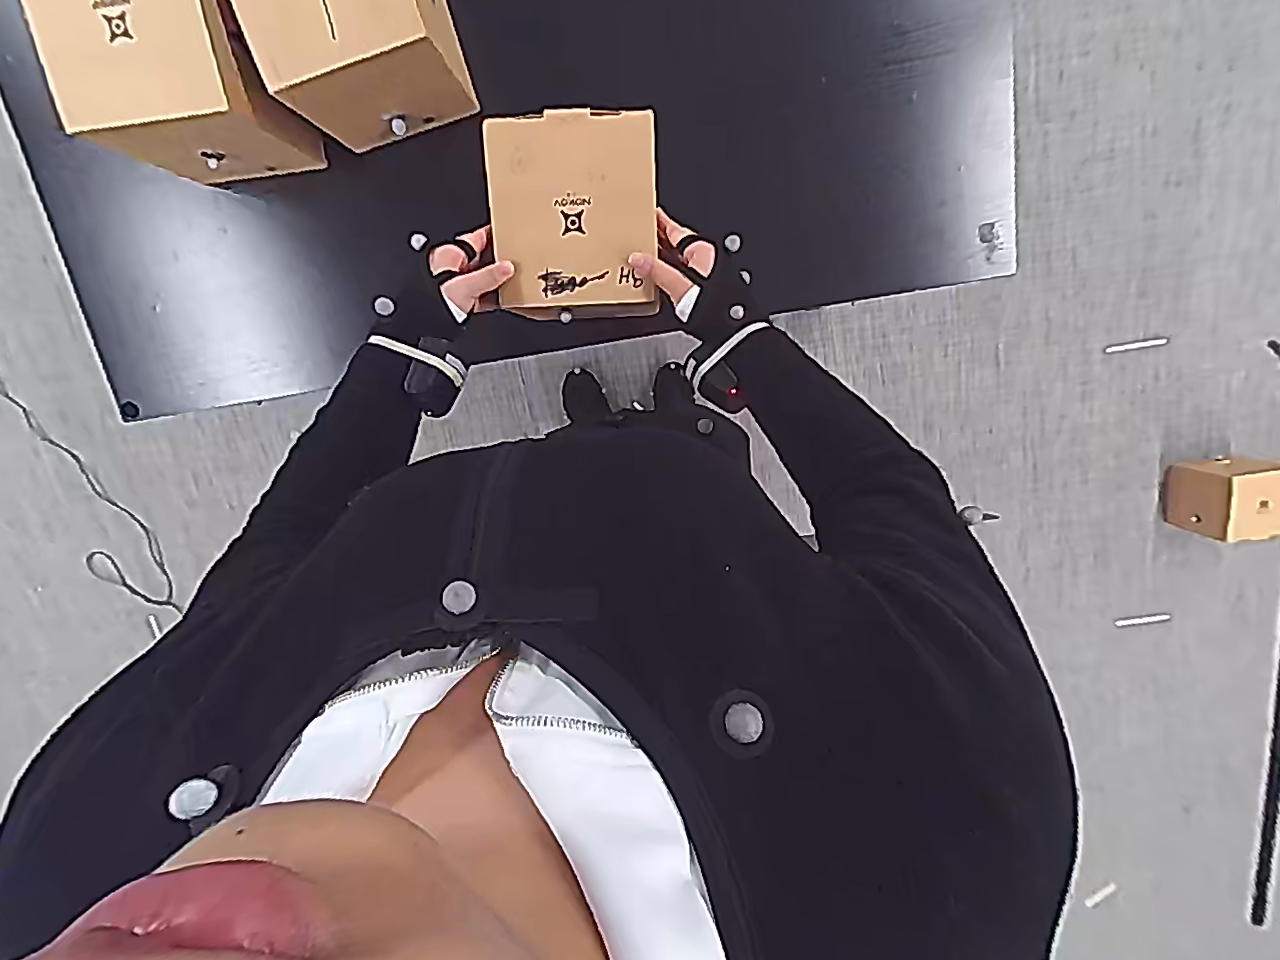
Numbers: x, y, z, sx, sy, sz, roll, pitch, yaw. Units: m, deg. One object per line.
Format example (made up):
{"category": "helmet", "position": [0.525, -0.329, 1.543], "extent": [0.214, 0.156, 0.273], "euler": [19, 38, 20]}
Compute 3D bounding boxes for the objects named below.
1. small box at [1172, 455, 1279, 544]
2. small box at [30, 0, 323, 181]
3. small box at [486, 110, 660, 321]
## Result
{"category": "small box", "position": [1.532, 0.046, 1.394], "extent": [0.168, 0.176, 0.179], "euler": [-10, 102, 3]}
{"category": "small box", "position": [-0.479, -0.442, 0.583], "extent": [0.168, 0.176, 0.179], "euler": [-7, 102, 2]}
{"category": "small box", "position": [-0.064, -0.280, 0.610], "extent": [0.168, 0.176, 0.179], "euler": [-2, 102, 2]}
